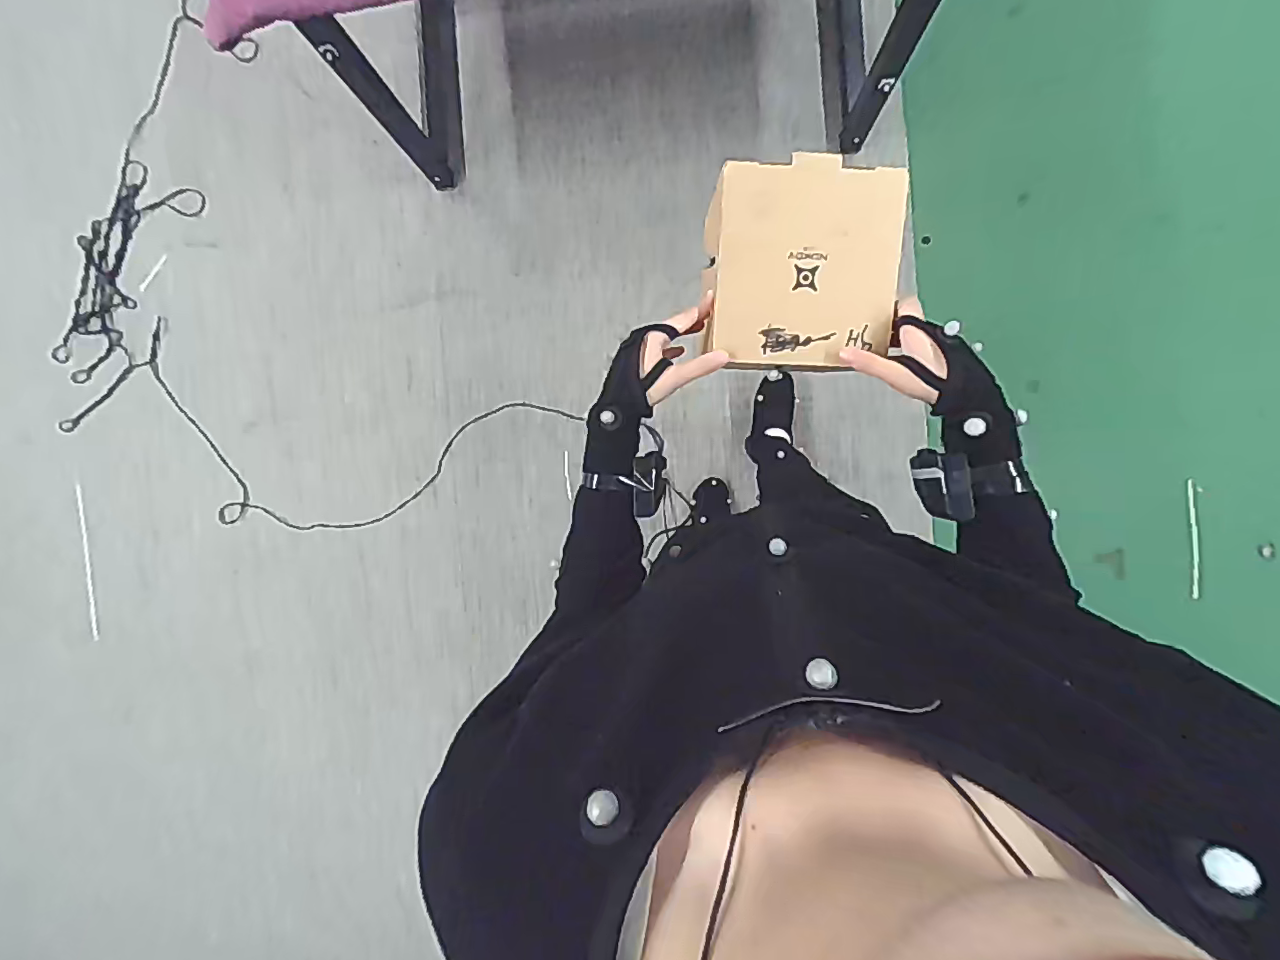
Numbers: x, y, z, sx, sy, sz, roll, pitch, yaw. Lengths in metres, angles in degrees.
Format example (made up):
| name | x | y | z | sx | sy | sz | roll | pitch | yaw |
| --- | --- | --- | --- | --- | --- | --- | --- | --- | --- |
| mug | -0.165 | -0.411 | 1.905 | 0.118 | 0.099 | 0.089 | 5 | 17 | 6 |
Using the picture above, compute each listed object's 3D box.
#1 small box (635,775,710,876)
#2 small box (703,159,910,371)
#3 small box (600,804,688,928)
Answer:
| name | x | y | z | sx | sy | sz | roll | pitch | yaw |
| --- | --- | --- | --- | --- | --- | --- | --- | --- | --- |
| small box | 0.084 | 0.892 | 1.406 | 0.179 | 0.176 | 0.168 | -9 | 88 | 8 |
| small box | 0.157 | -0.210 | 0.572 | 0.168 | 0.176 | 0.179 | 3 | 101 | 2 |
| small box | 0.014 | 0.880 | 1.250 | 0.168 | 0.176 | 0.179 | -11 | 88 | 8 |
